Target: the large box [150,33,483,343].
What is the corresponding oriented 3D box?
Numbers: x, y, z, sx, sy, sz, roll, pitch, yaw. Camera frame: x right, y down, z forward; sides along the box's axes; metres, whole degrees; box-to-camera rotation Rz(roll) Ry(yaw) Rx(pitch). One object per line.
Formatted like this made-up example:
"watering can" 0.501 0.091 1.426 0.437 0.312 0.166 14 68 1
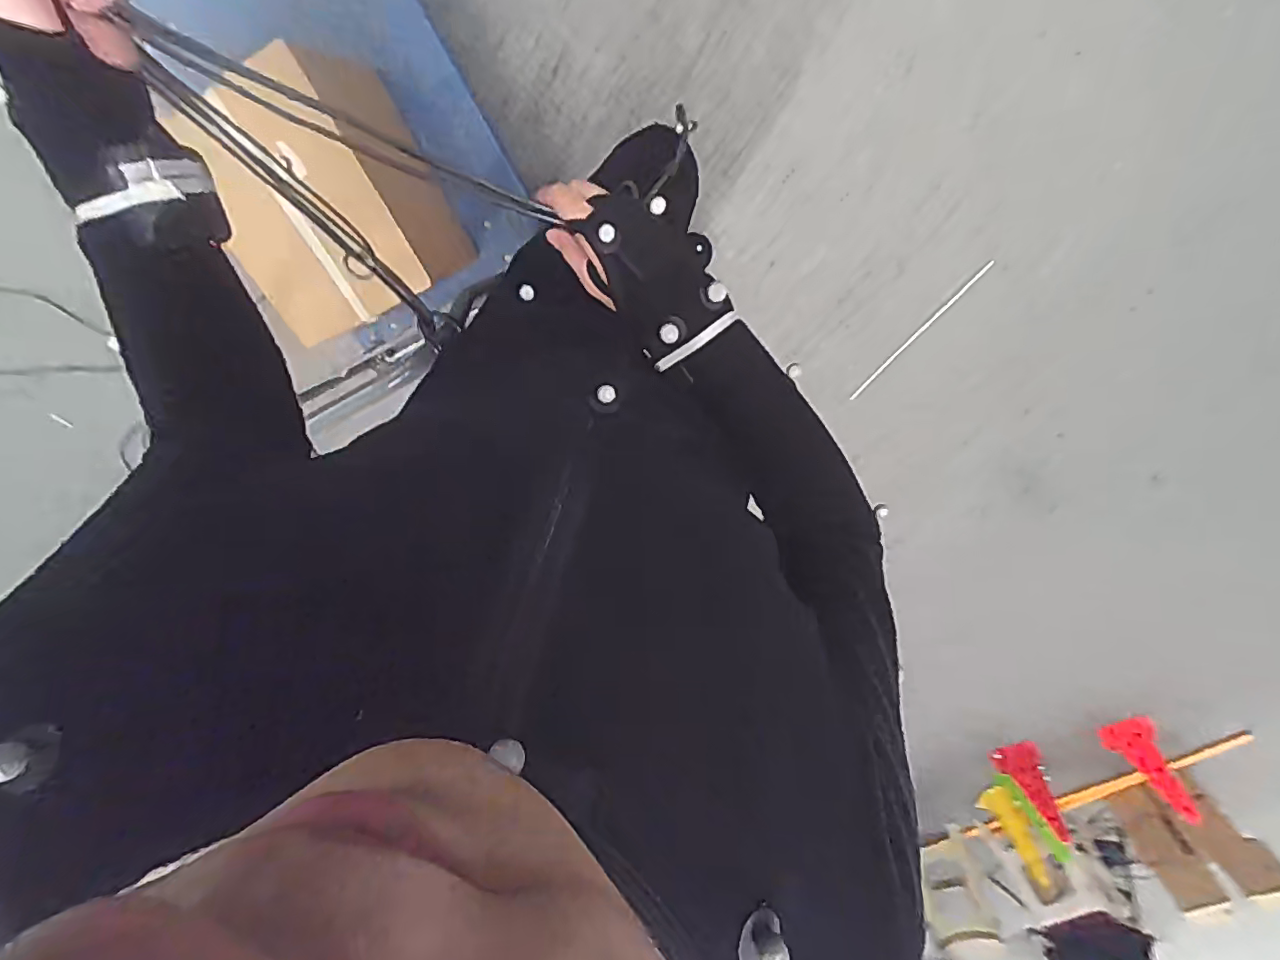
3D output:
"large box" -0.584 -0.549 1.071 0.320 0.320 0.408 -20 118 14
